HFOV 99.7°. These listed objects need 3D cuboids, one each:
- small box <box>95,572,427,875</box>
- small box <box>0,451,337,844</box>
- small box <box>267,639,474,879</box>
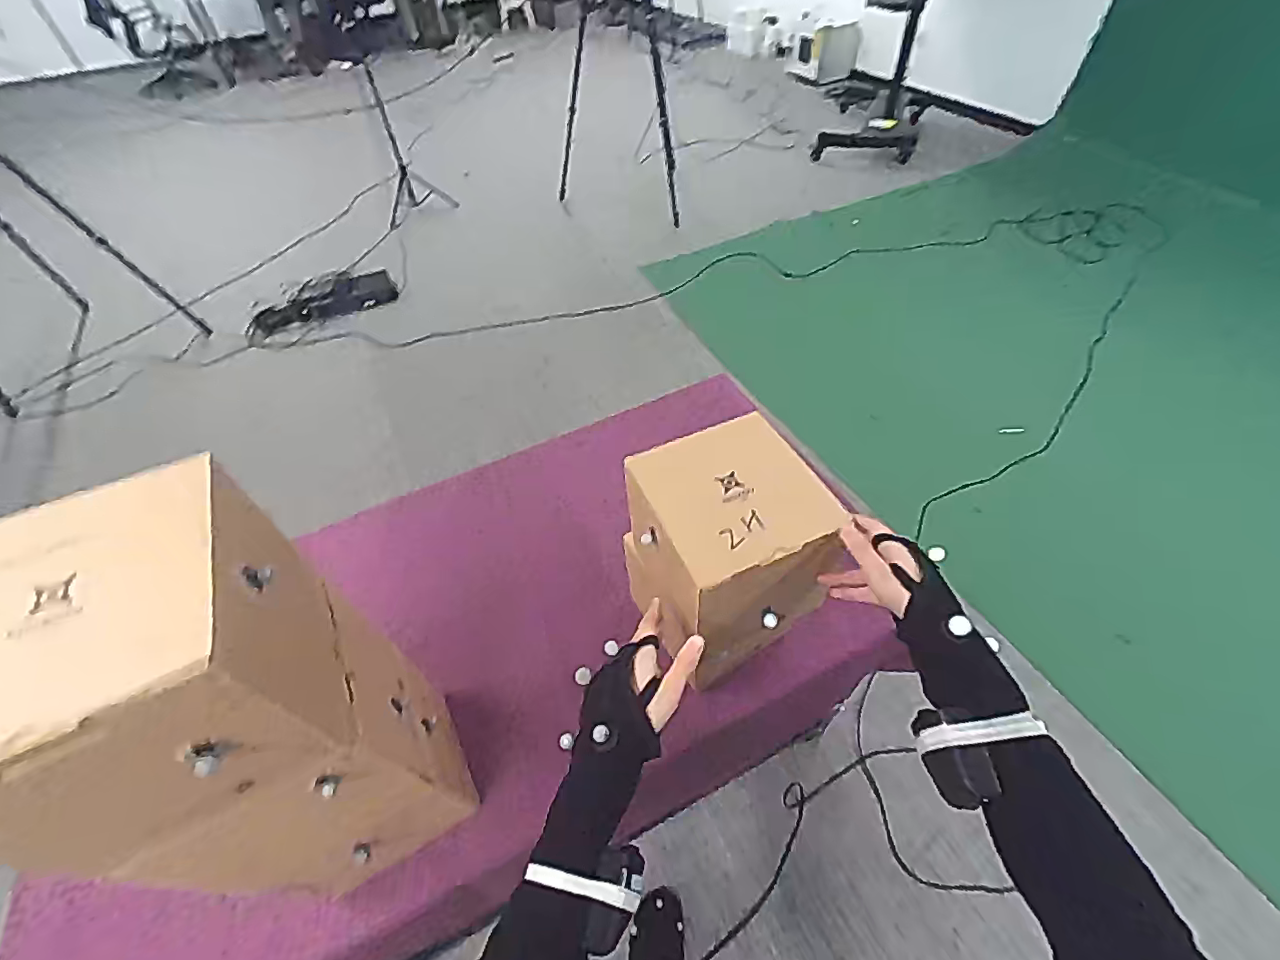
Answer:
[{"bbox_3d":[-0.325,0.224,0.494,0.179,0.176,0.168,-25,53,-17],"label":"small box"},{"bbox_3d":[-0.334,0.117,0.371,0.168,0.176,0.179,-22,51,-16],"label":"small box"},{"bbox_3d":[-0.317,0.323,0.622,0.179,0.176,0.168,-25,53,-16],"label":"small box"}]
